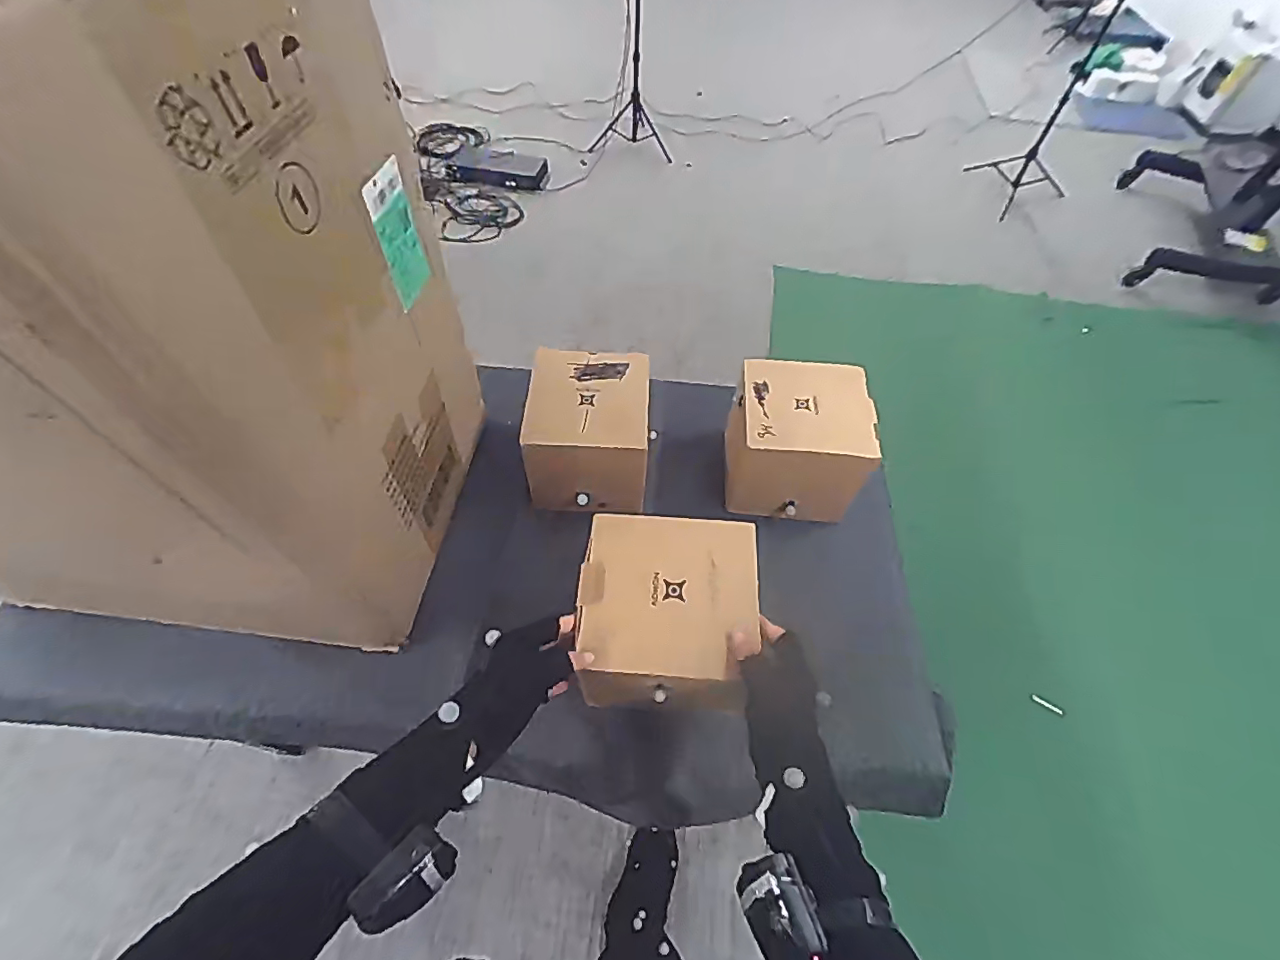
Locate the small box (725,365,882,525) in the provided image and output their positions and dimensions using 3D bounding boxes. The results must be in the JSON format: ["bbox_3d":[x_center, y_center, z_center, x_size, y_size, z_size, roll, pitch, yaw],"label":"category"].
[{"bbox_3d":[0.231,-0.047,0.810,0.179,0.176,0.168,6,55,1],"label":"small box"}]
